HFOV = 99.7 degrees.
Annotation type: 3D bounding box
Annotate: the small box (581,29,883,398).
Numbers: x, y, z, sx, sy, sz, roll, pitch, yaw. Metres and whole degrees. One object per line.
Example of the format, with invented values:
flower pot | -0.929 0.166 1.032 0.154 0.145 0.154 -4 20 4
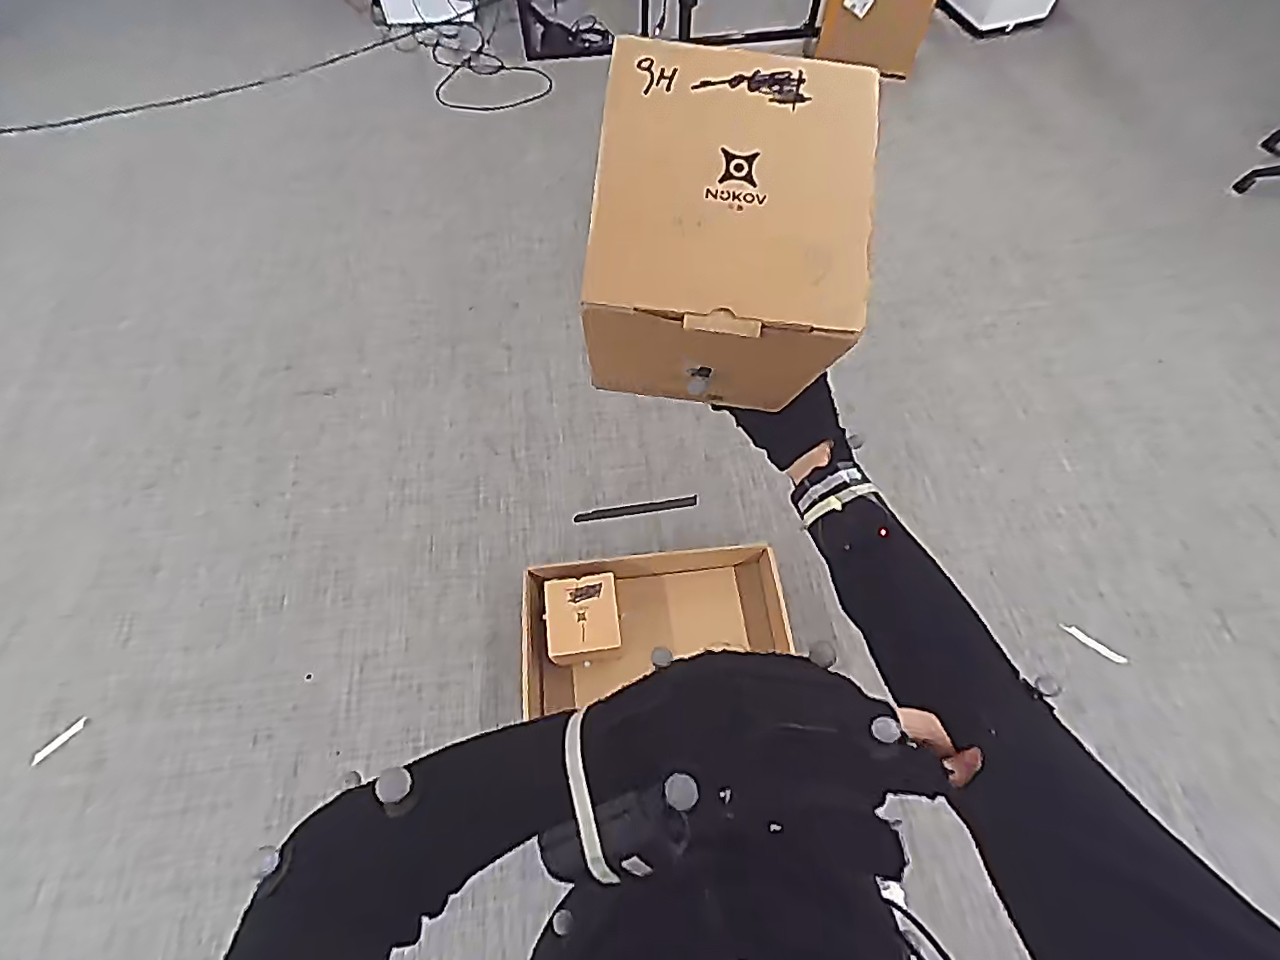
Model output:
small box | 0.054 -0.168 0.396 0.168 0.176 0.179 6 83 -1
